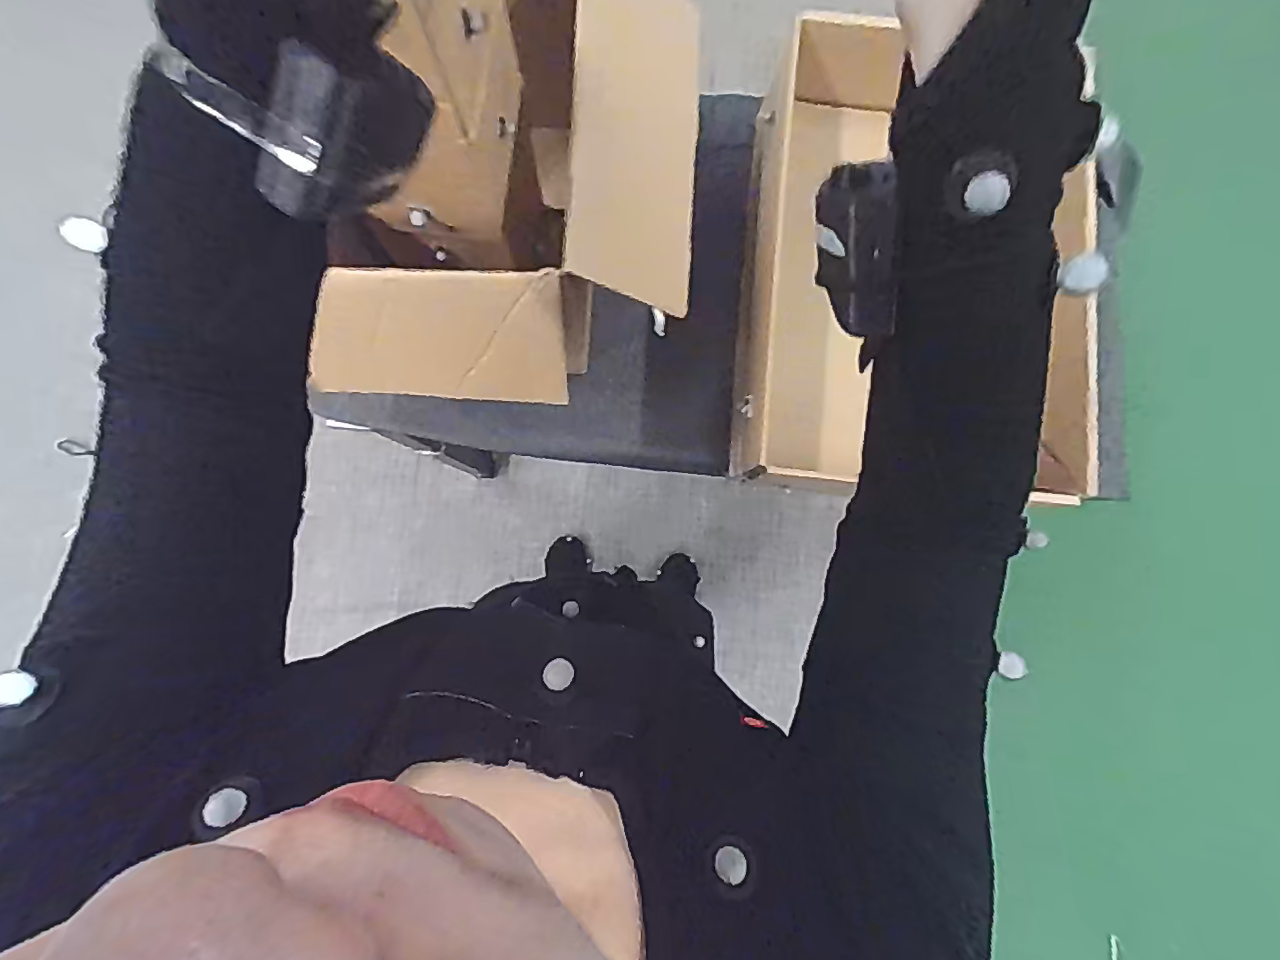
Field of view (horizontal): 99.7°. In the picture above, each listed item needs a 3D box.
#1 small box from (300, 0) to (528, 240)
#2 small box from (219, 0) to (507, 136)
[{"bbox_3d":[-0.223,-0.394,0.584,0.168,0.176,0.179,8,85,-1],"label":"small box"},{"bbox_3d":[-0.219,-0.408,0.423,0.179,0.176,0.168,8,84,-2],"label":"small box"}]
